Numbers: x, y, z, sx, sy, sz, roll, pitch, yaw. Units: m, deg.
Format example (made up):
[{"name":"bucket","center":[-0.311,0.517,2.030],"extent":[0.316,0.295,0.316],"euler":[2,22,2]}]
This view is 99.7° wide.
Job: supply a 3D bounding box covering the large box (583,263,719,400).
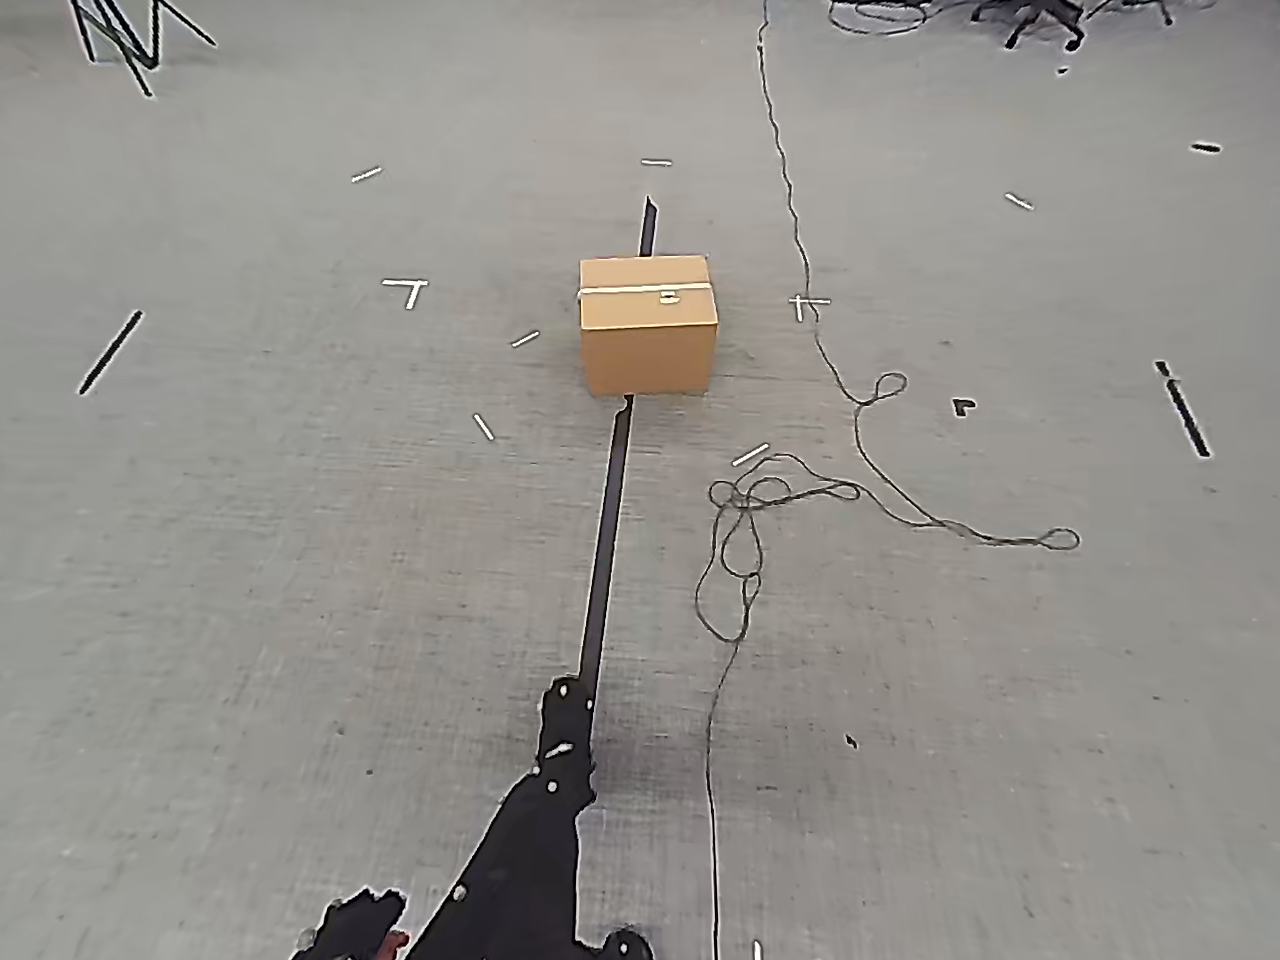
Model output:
[{"name":"large box","center":[0.023,-0.486,1.789],"extent":[0.408,0.320,0.320],"euler":[-2,59,-2]}]
